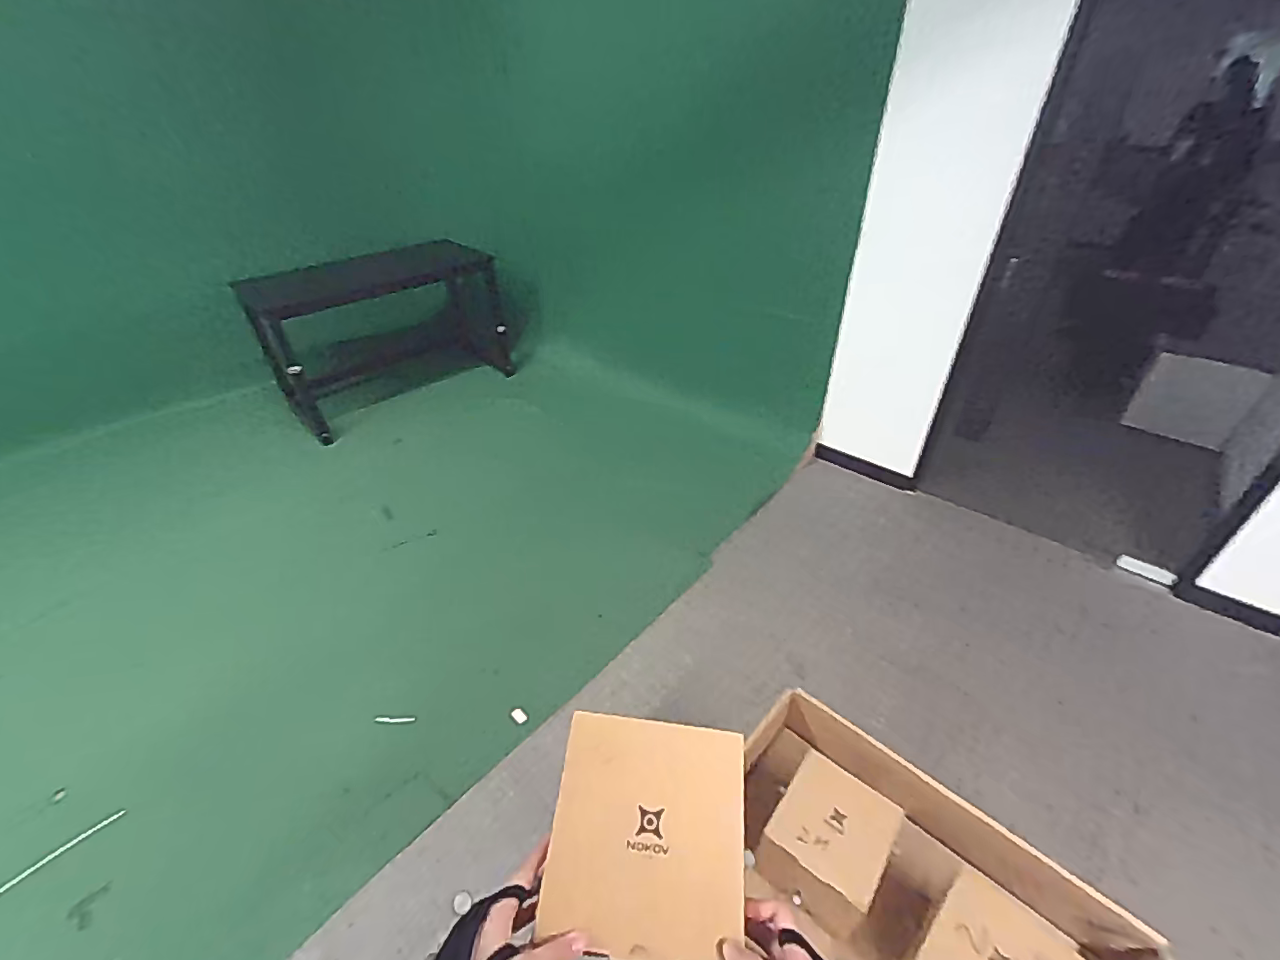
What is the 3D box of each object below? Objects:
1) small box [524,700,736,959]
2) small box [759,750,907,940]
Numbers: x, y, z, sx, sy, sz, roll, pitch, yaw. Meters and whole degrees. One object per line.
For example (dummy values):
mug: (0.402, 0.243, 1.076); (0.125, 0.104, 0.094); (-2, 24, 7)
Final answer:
small box: (-0.007, 0.337, 0.524); (0.168, 0.176, 0.179); (8, 52, 0)
small box: (0.315, 0.608, 0.908); (0.168, 0.176, 0.179); (26, 45, 32)
